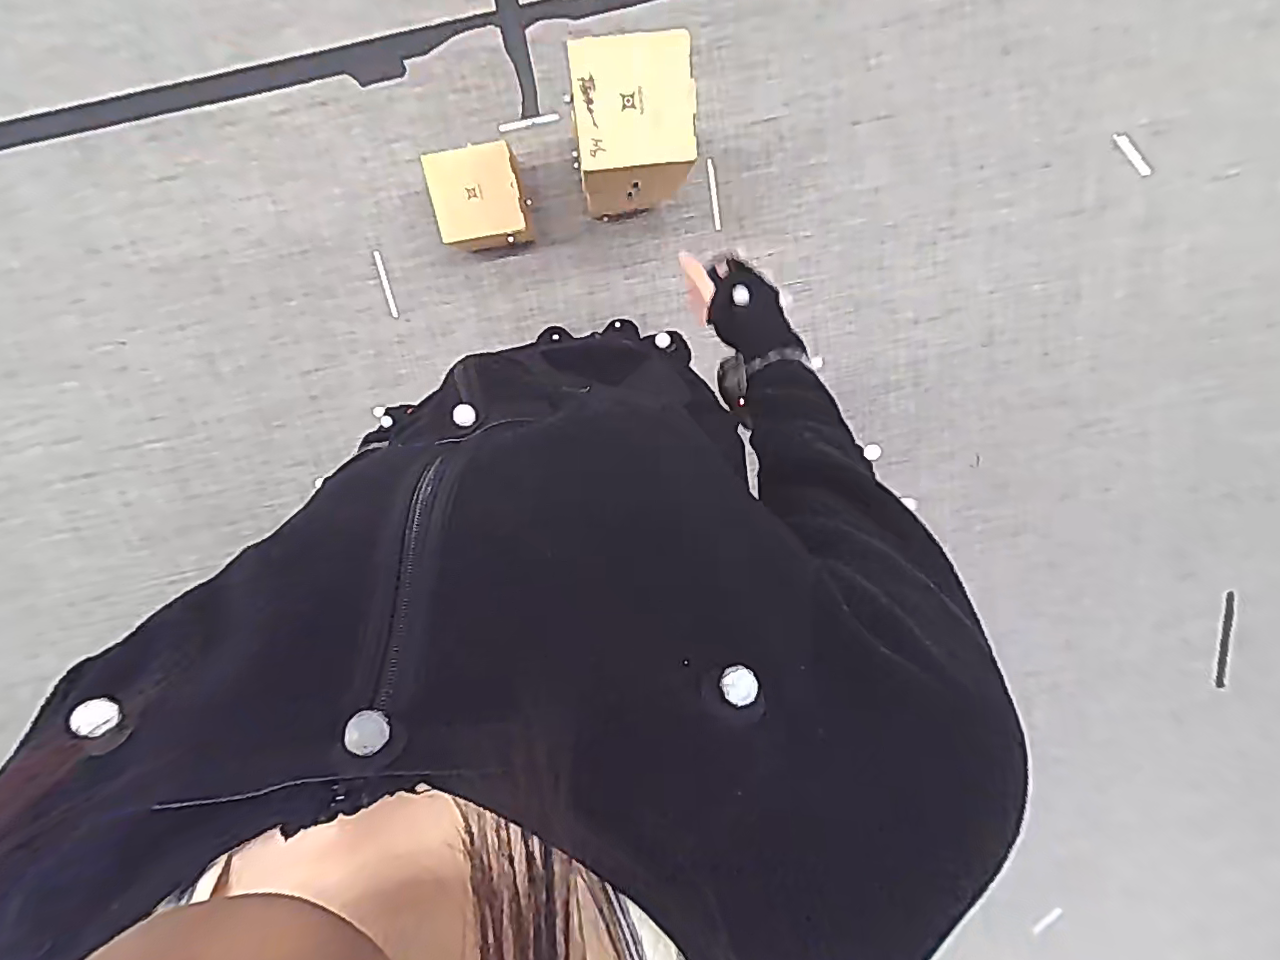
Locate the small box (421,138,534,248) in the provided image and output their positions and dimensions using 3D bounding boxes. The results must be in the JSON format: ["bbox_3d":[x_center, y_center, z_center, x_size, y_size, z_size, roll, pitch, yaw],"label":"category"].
[{"bbox_3d":[-0.339,-0.605,1.160,0.179,0.176,0.168,-11,108,-1],"label":"small box"}]

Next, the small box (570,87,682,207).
[{"bbox_3d":[-0.026,-0.620,1.005,0.179,0.176,0.168,-10,109,-2],"label":"small box"}]

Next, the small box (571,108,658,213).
[{"bbox_3d":[-0.046,-0.685,1.156,0.168,0.176,0.179,-12,107,-1],"label":"small box"}]

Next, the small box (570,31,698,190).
[{"bbox_3d":[-0.013,-0.567,0.850,0.179,0.176,0.168,-7,108,-3],"label":"small box"}]
